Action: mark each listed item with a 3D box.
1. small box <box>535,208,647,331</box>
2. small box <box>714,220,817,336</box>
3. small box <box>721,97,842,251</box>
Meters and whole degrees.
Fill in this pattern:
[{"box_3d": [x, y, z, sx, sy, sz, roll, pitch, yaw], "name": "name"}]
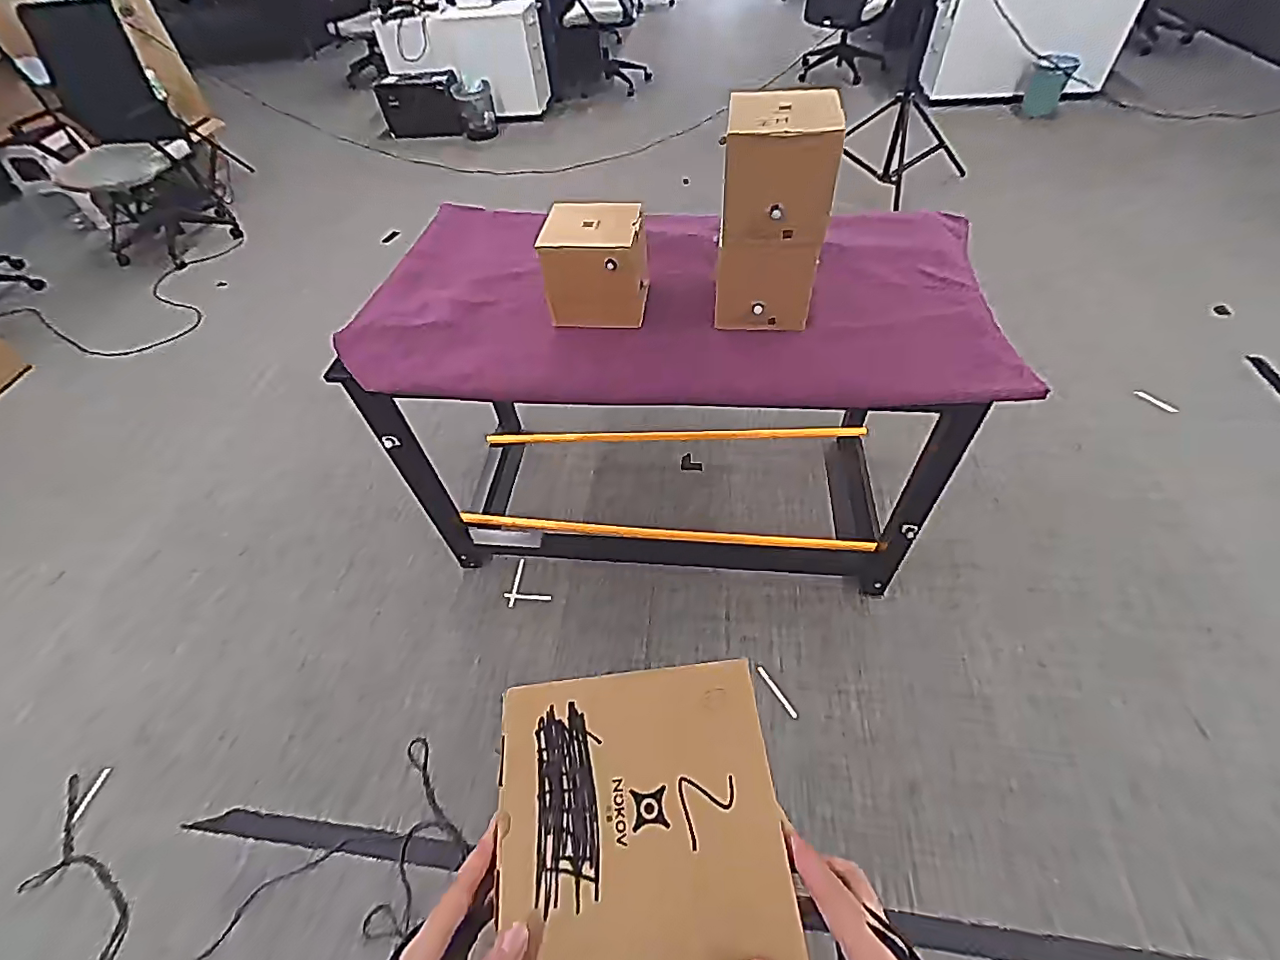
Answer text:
[{"box_3d": [-0.085, -0.404, 1.046, 0.179, 0.176, 0.168, 3, 51, 7], "name": "small box"}, {"box_3d": [0.227, -0.392, 1.008, 0.168, 0.176, 0.179, 4, 52, 8], "name": "small box"}, {"box_3d": [0.221, -0.496, 0.880, 0.168, 0.176, 0.179, 3, 51, 9], "name": "small box"}]
